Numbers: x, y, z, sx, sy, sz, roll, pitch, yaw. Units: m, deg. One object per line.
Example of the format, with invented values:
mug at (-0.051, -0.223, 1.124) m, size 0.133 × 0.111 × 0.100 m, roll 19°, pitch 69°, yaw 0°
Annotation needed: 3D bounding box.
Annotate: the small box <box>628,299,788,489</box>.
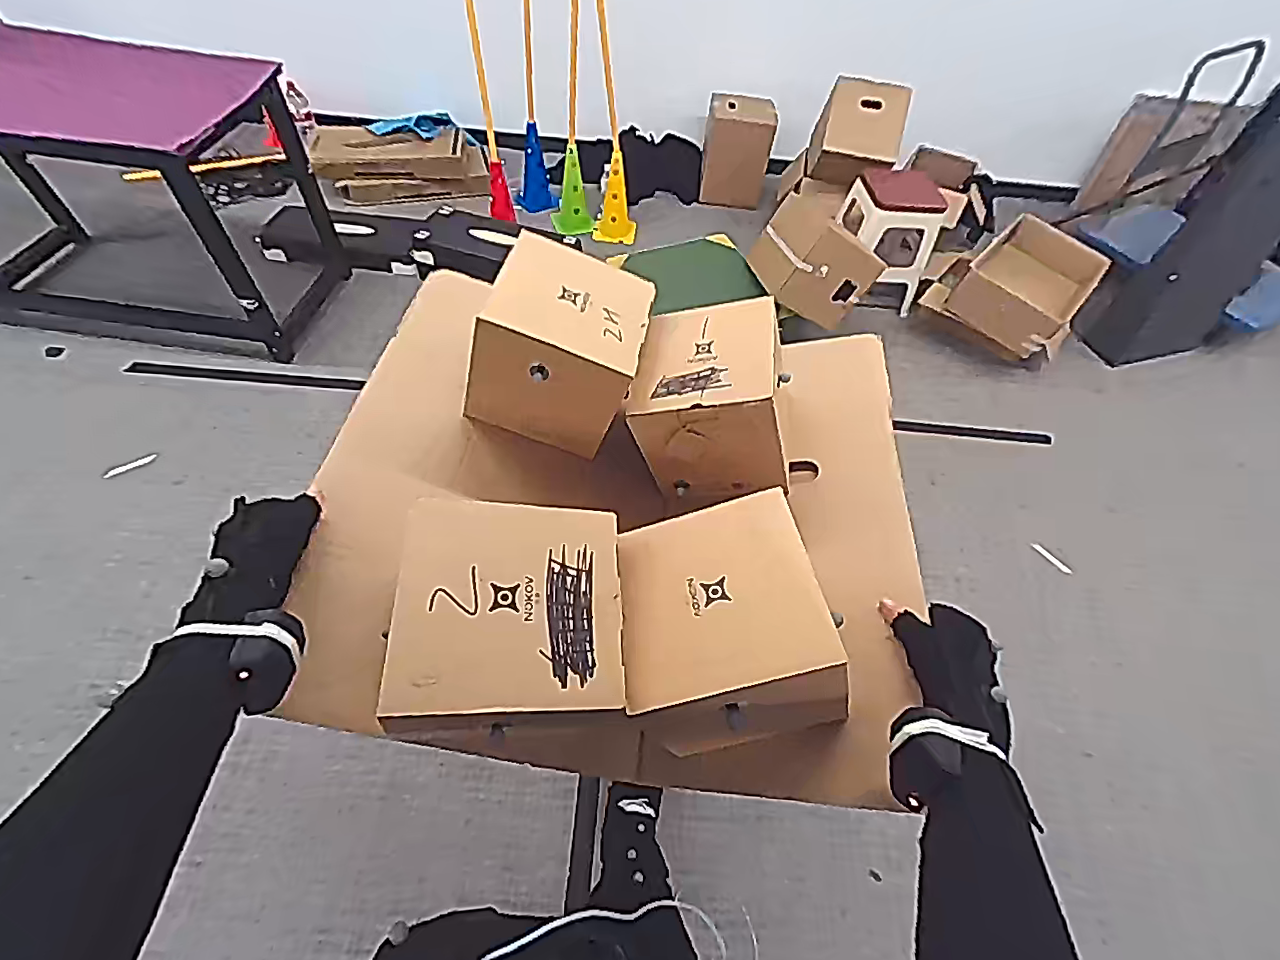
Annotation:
small box at (0.099, -0.099, 0.697) m, size 0.168 × 0.176 × 0.179 m, roll -3°, pitch 52°, yaw 19°
